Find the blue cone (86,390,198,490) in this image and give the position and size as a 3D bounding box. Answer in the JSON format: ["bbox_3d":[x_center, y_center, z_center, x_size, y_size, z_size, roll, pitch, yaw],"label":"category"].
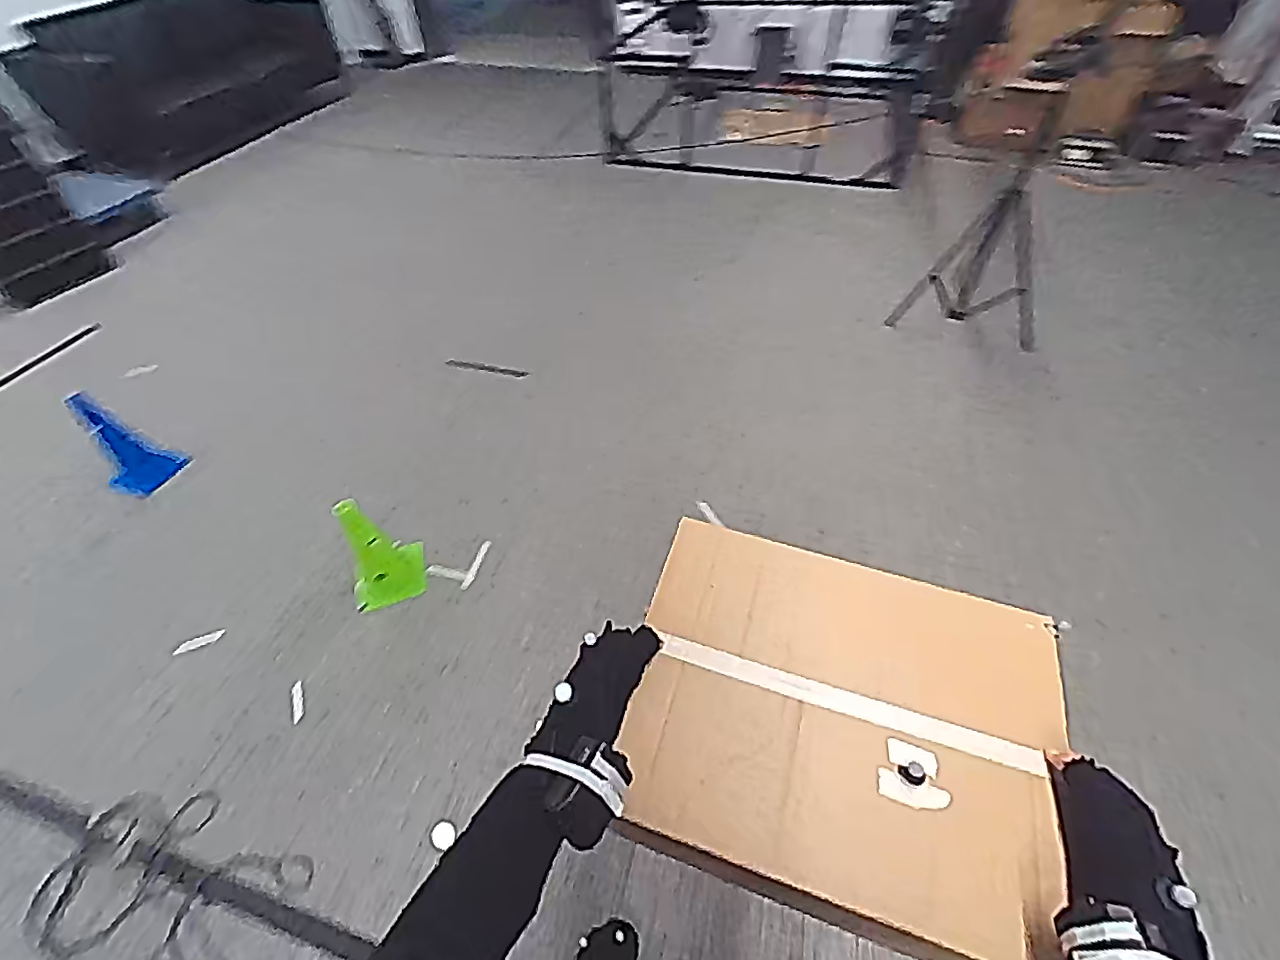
[{"bbox_3d":[-1.807,-0.154,1.912,0.193,0.380,0.192,15,50,13],"label":"blue cone"}]

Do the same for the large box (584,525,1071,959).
[{"bbox_3d":[0.179,0.302,0.646,0.408,0.320,0.320,14,55,10],"label":"large box"}]

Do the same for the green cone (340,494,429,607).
[{"bbox_3d":[-0.776,0.177,1.581,0.200,0.368,0.202,-16,49,-14],"label":"green cone"}]
